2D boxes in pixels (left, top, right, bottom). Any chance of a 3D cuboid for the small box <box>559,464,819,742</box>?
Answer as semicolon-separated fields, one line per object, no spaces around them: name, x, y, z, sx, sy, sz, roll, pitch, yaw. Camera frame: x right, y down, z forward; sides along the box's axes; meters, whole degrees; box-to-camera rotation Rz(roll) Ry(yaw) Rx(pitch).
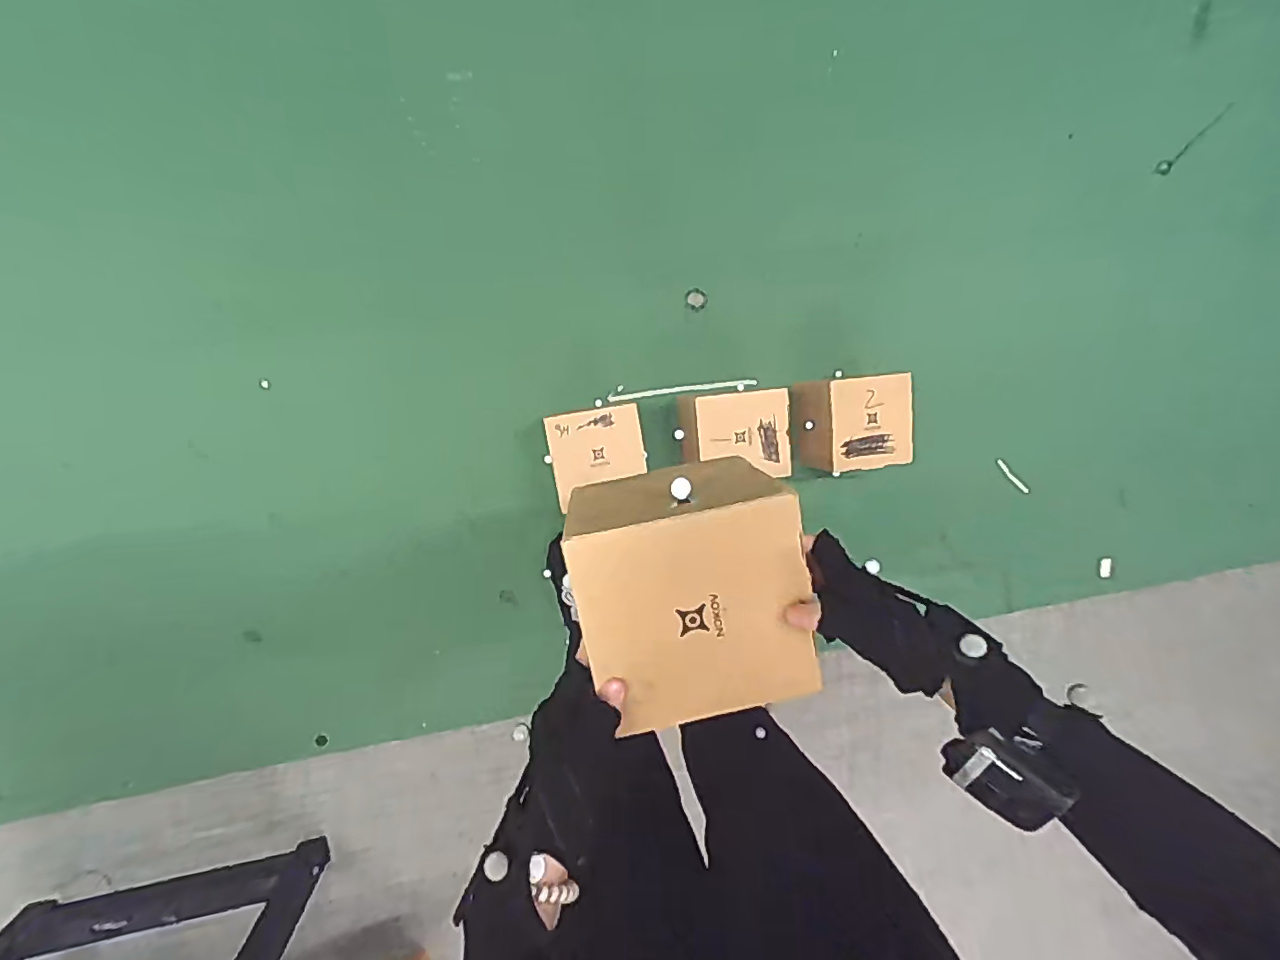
small box;0.035;0.091;0.478;0.179;0.176;0.168;-12;103;-3

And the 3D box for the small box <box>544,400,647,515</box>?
small box;-0.083;-0.049;1.021;0.168;0.176;0.179;-10;102;-7

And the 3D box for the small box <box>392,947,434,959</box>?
small box;-0.534;1.175;1.164;0.179;0.176;0.168;-20;102;-4
